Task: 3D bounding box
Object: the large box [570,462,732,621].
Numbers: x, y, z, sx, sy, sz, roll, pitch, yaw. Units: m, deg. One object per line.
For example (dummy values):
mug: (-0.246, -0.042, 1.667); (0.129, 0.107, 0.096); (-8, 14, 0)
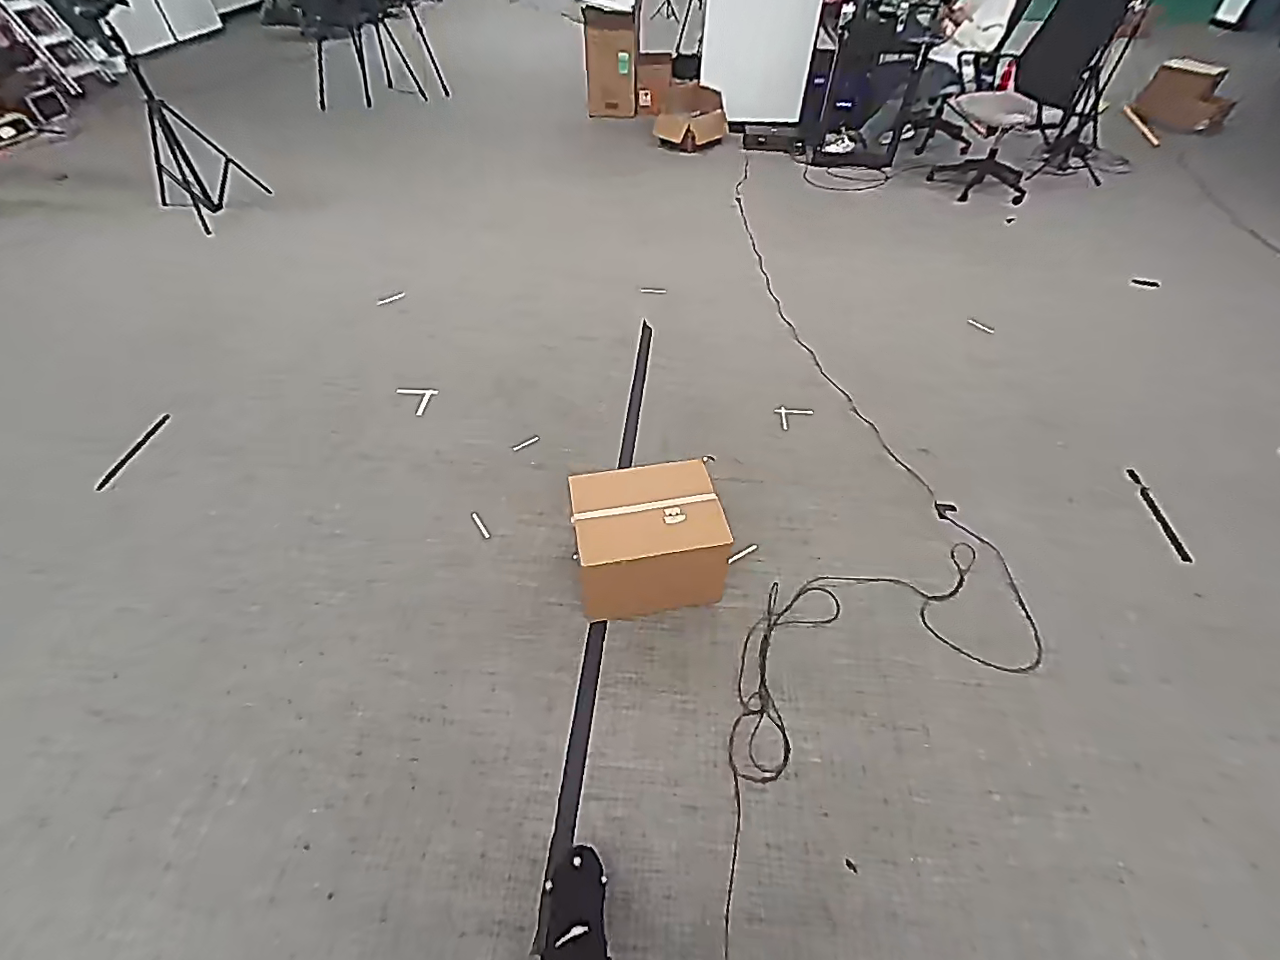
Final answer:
large box: (0.017, 0.184, 1.604); (0.408, 0.320, 0.320); (-7, 49, -8)
